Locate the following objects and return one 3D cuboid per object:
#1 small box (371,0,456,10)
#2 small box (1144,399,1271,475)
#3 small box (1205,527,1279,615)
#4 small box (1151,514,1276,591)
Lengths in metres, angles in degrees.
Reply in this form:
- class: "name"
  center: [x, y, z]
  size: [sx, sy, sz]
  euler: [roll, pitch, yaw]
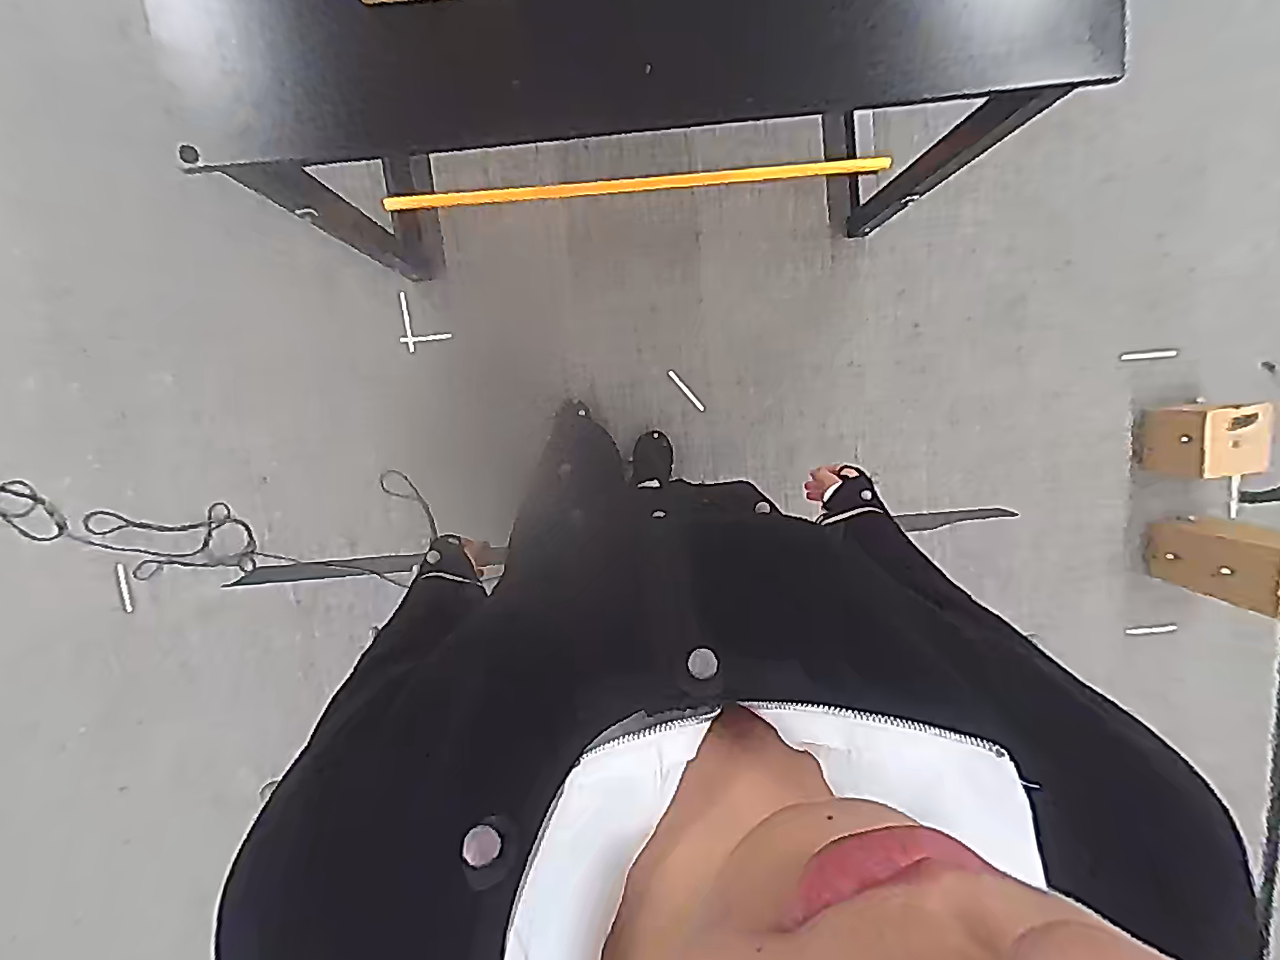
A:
- class: "small box"
  center: [-0.265, -0.662, 0.575]
  size: [0.168, 0.176, 0.179]
  euler: [-8, 99, 1]
- class: "small box"
  center: [1.484, -0.117, 1.424]
  size: [0.168, 0.176, 0.179]
  euler: [-7, 99, 0]
- class: "small box"
  center: [1.547, 0.214, 1.308]
  size: [0.179, 0.176, 0.168]
  euler: [-4, 98, 0]
- class: "small box"
  center: [1.551, 0.193, 1.473]
  size: [0.179, 0.176, 0.168]
  euler: [-6, 98, 0]
